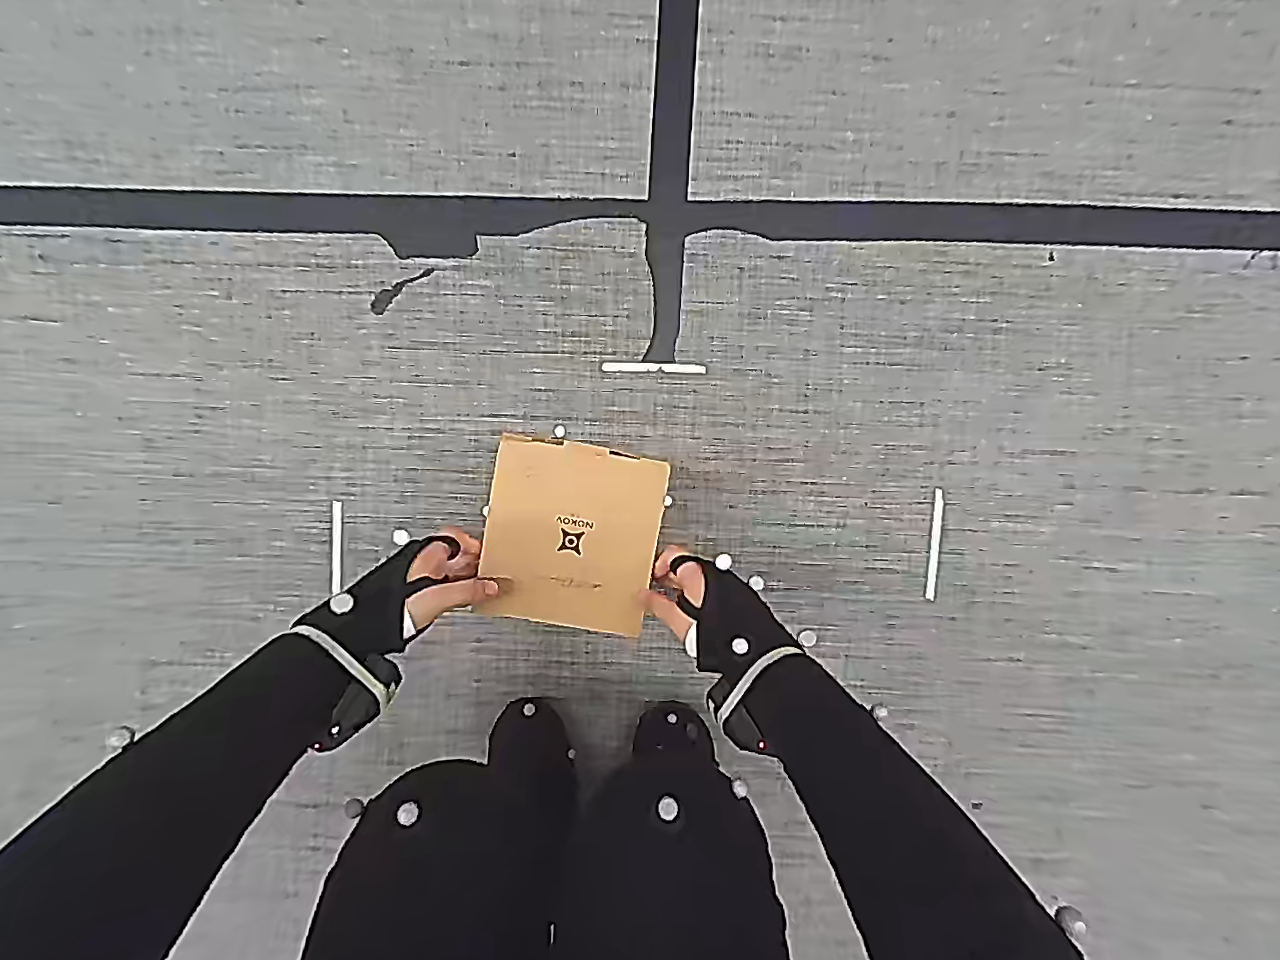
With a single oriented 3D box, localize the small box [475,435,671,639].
[{"bbox_3d":[-0.067,0.050,0.593,0.168,0.176,0.179,9,95,-2],"label":"small box"}]
